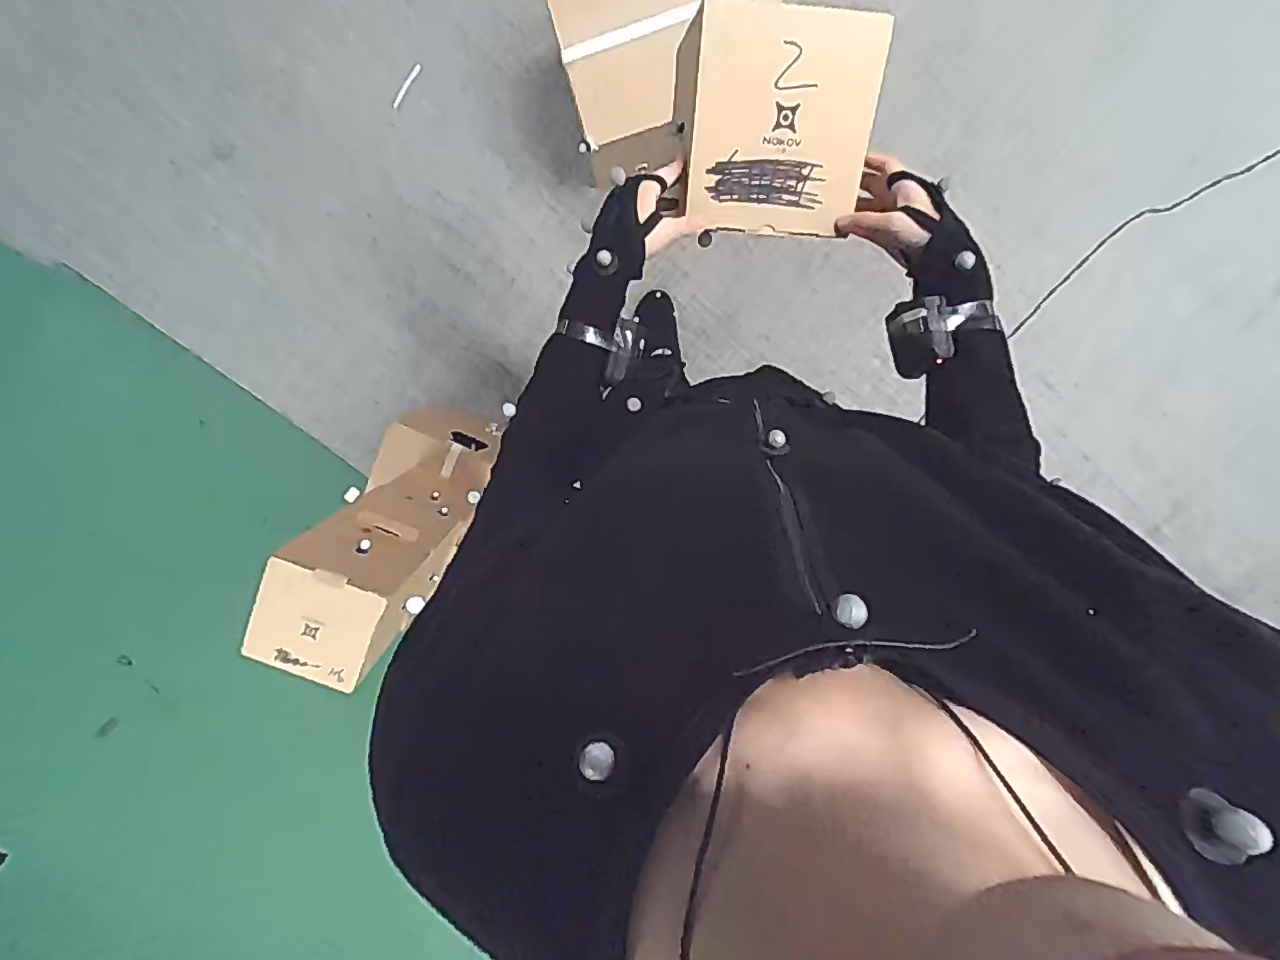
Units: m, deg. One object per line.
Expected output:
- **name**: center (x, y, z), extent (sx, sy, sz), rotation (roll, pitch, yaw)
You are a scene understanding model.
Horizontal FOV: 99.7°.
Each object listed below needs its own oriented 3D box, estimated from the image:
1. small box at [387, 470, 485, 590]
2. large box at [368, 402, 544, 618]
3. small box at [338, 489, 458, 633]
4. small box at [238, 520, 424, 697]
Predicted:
- **small box**: center (-0.450, 0.097, 1.141), extent (0.179, 0.176, 0.168), rotation (25, 104, -7)
- **large box**: center (-0.479, 0.060, 1.384), extent (0.320, 0.320, 0.408), rotation (25, 106, -6)
- **small box**: center (-0.451, 0.137, 0.983), extent (0.168, 0.176, 0.179), rotation (24, 105, -7)
- **small box**: center (-0.454, 0.184, 0.825), extent (0.168, 0.176, 0.179), rotation (25, 103, -7)
